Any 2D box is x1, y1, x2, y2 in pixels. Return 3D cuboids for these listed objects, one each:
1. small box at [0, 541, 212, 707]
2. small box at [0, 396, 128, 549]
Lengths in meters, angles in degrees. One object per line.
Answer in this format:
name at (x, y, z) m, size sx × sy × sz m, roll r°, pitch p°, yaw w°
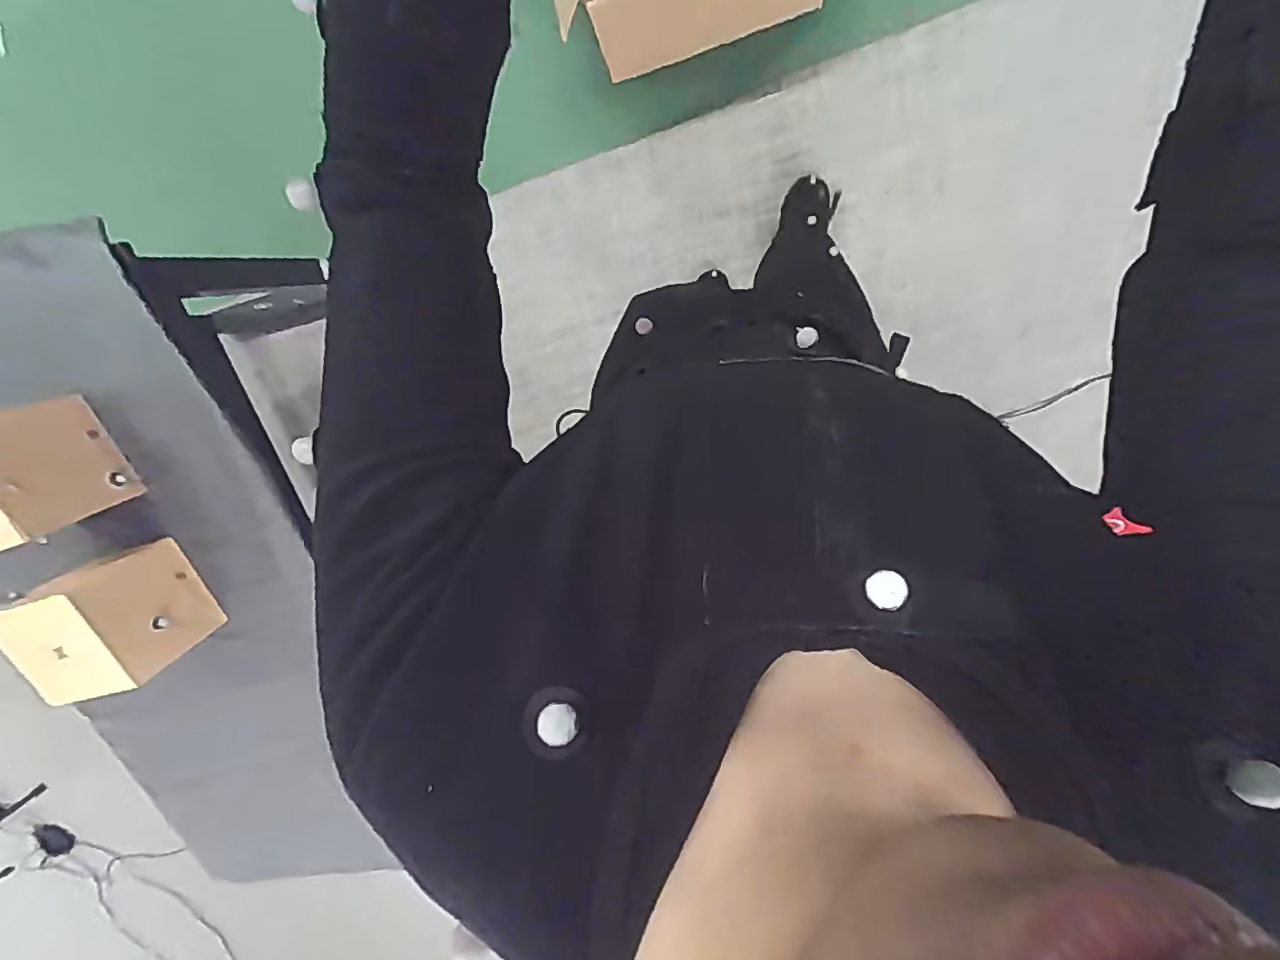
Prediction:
small box at (-0.812, 0.213, 0.828) m, size 0.179 × 0.176 × 0.168 m, roll -14°, pitch 109°, yaw 13°
small box at (-0.876, -0.004, 0.747) m, size 0.179 × 0.176 × 0.168 m, roll -15°, pitch 109°, yaw 13°
